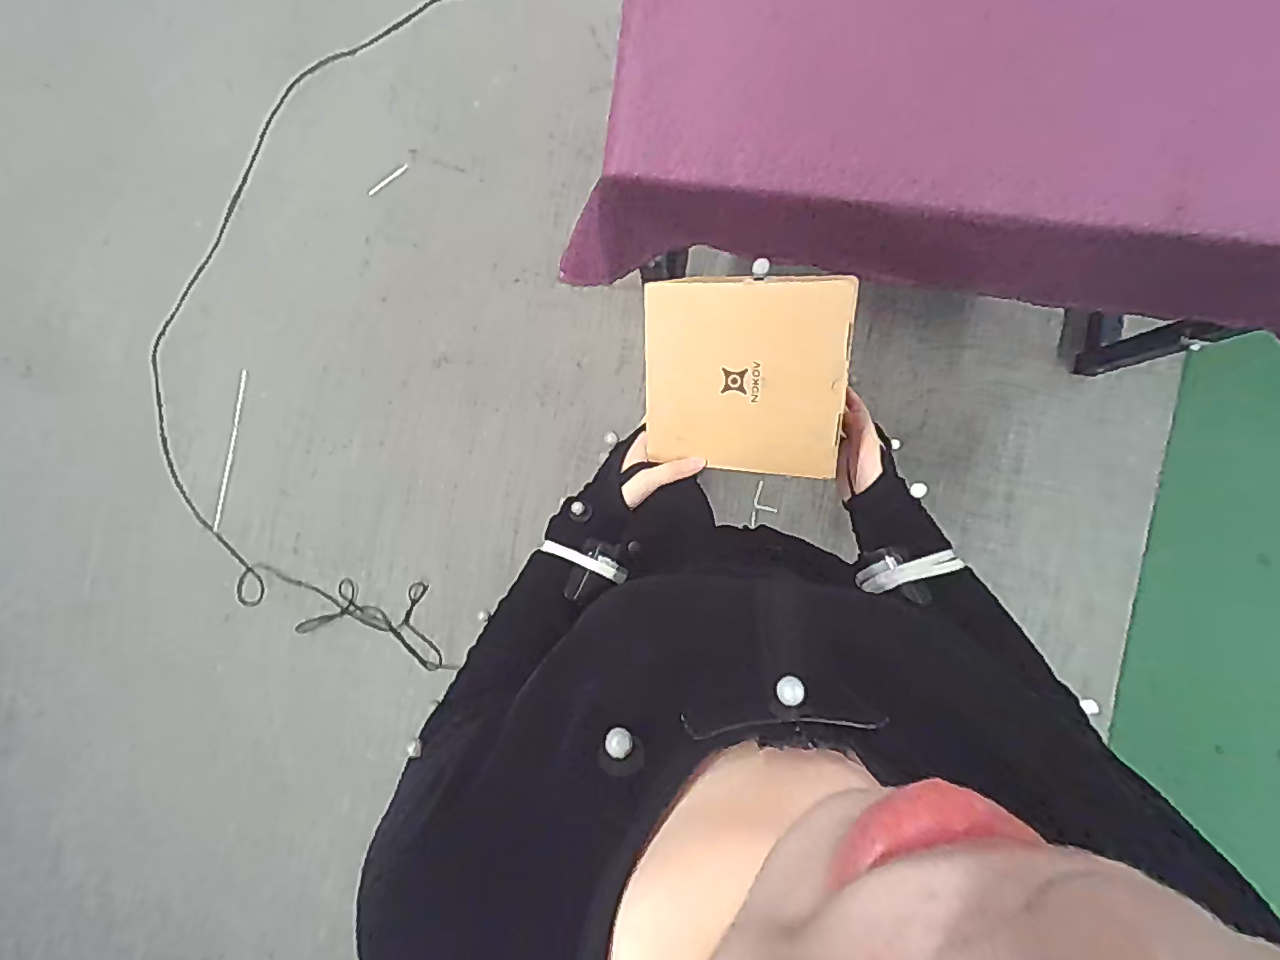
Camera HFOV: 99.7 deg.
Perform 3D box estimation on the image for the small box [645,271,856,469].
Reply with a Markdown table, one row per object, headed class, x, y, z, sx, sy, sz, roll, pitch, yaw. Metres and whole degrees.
| class | x | y | z | sx | sy | sz | roll | pitch | yaw |
| --- | --- | --- | --- | --- | --- | --- | --- | --- | --- |
| small box | 0.114 | -0.121 | 0.545 | 0.179 | 0.176 | 0.168 | 6 | 112 | 18 |
